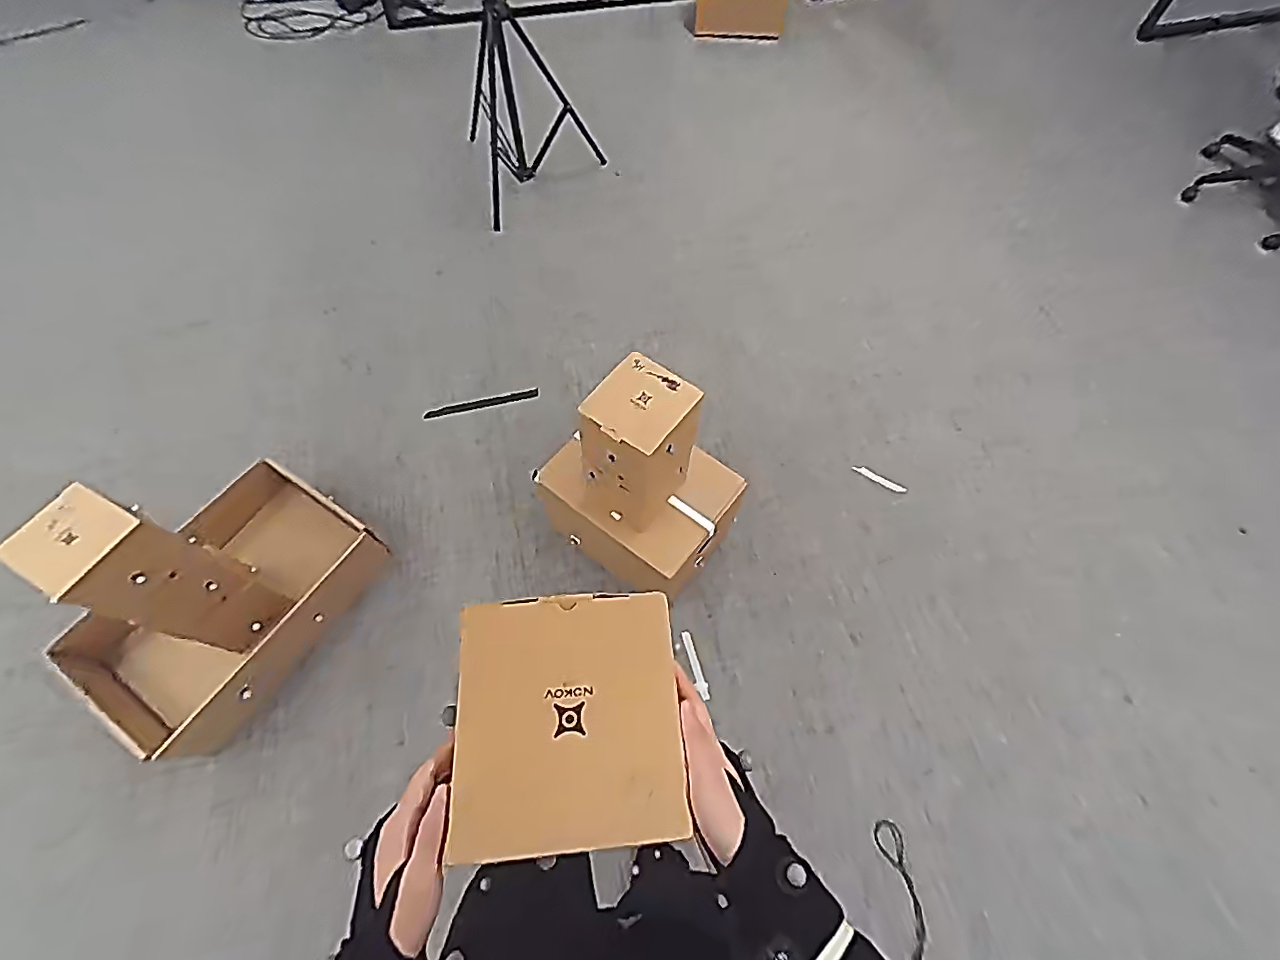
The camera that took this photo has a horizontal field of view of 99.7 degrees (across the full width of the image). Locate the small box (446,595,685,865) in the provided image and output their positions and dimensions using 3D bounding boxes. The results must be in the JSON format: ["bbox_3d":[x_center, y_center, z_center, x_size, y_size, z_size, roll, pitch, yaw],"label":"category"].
[{"bbox_3d":[-0.061,0.213,0.473,0.168,0.176,0.179,-2,60,-7],"label":"small box"}]

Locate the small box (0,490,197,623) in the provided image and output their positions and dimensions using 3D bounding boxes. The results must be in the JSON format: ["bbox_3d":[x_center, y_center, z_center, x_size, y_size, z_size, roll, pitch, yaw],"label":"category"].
[{"bbox_3d":[-1.008,0.153,1.022,0.179,0.176,0.168,26,63,12],"label":"small box"}]

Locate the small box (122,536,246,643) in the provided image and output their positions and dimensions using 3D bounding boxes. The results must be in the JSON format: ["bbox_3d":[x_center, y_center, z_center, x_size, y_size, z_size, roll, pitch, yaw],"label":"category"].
[{"bbox_3d":[-1.014,0.233,1.167,0.179,0.176,0.168,25,64,13],"label":"small box"}]

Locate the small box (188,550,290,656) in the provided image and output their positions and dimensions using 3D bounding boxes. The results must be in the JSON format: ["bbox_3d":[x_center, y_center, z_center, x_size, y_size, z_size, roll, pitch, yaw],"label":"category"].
[{"bbox_3d":[-1.011,0.305,1.312,0.179,0.176,0.168,30,66,13],"label":"small box"}]

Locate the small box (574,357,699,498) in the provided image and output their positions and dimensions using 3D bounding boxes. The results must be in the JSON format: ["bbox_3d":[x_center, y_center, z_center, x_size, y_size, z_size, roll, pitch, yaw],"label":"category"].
[{"bbox_3d":[-0.004,-0.094,1.050,0.168,0.176,0.179,34,68,15],"label":"small box"}]
